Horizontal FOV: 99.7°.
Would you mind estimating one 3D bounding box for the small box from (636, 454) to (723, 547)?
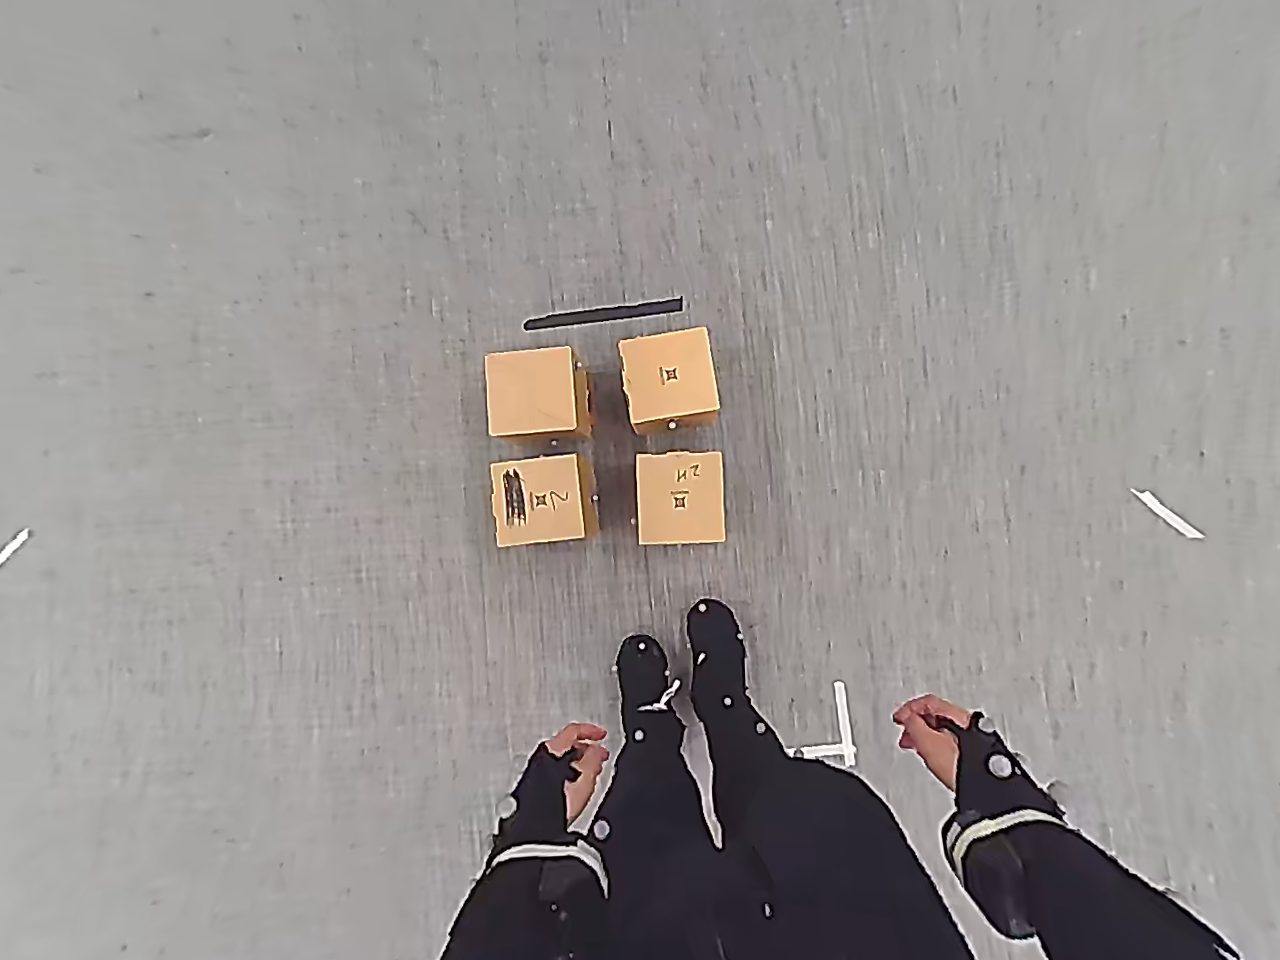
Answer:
[{"bbox_3d":[0.082,0.041,1.108,0.168,0.176,0.179,-2,87,3],"label":"small box"}]

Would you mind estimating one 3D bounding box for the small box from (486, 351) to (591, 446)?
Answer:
[{"bbox_3d":[-0.207,-0.166,1.137,0.179,0.176,0.168,-4,87,4],"label":"small box"}]
